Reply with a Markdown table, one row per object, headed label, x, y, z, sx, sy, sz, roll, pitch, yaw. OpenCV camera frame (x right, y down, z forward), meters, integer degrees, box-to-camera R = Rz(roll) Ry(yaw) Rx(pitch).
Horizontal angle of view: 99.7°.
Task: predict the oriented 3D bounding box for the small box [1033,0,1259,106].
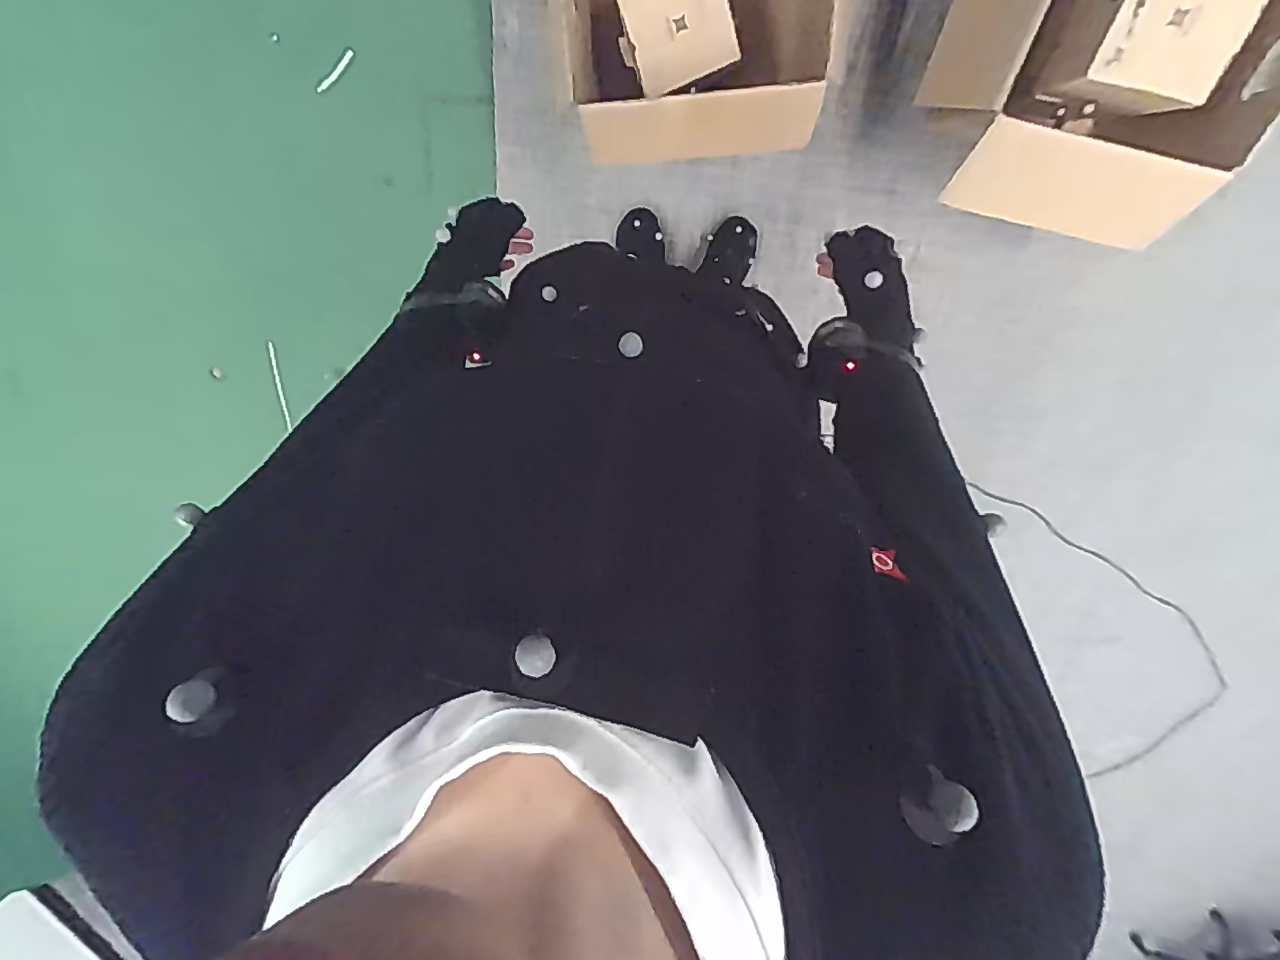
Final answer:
| label | x | y | z | sx | sy | sz | roll | pitch | yaw |
| --- | --- | --- | --- | --- | --- | --- | --- | --- | --- |
| small box | 0.752 | -0.679 | 0.810 | 0.179 | 0.176 | 0.168 | 13 | 120 | 0 |
